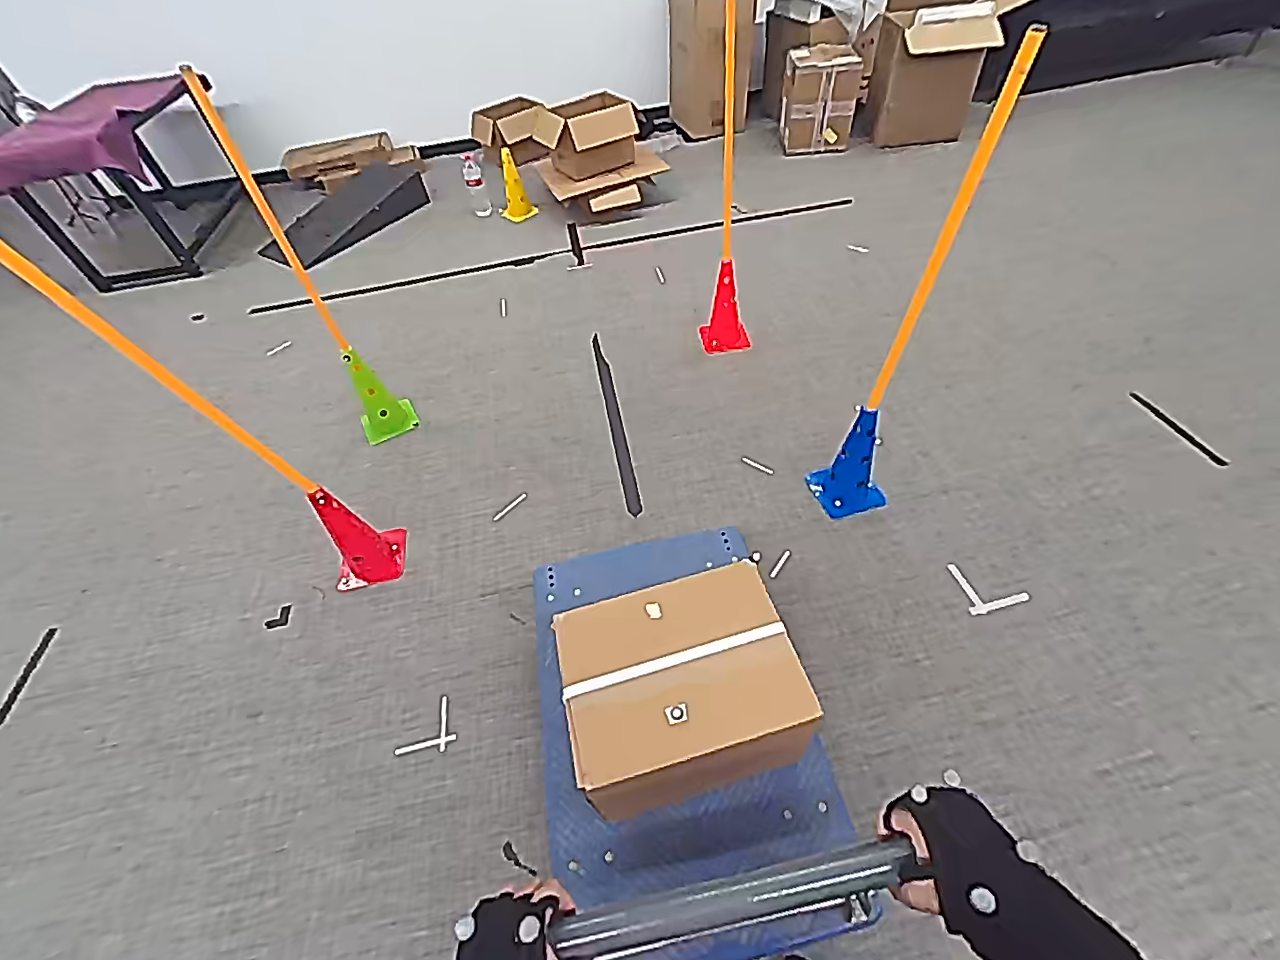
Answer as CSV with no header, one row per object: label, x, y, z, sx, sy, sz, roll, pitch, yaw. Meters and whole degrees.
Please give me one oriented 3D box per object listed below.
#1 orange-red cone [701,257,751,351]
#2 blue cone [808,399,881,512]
orange-red cone,0.358,-0.736,2.214,0.199,0.360,0.198,-6,50,0
blue cone,0.657,-0.086,1.650,0.193,0.380,0.192,-15,49,-6
